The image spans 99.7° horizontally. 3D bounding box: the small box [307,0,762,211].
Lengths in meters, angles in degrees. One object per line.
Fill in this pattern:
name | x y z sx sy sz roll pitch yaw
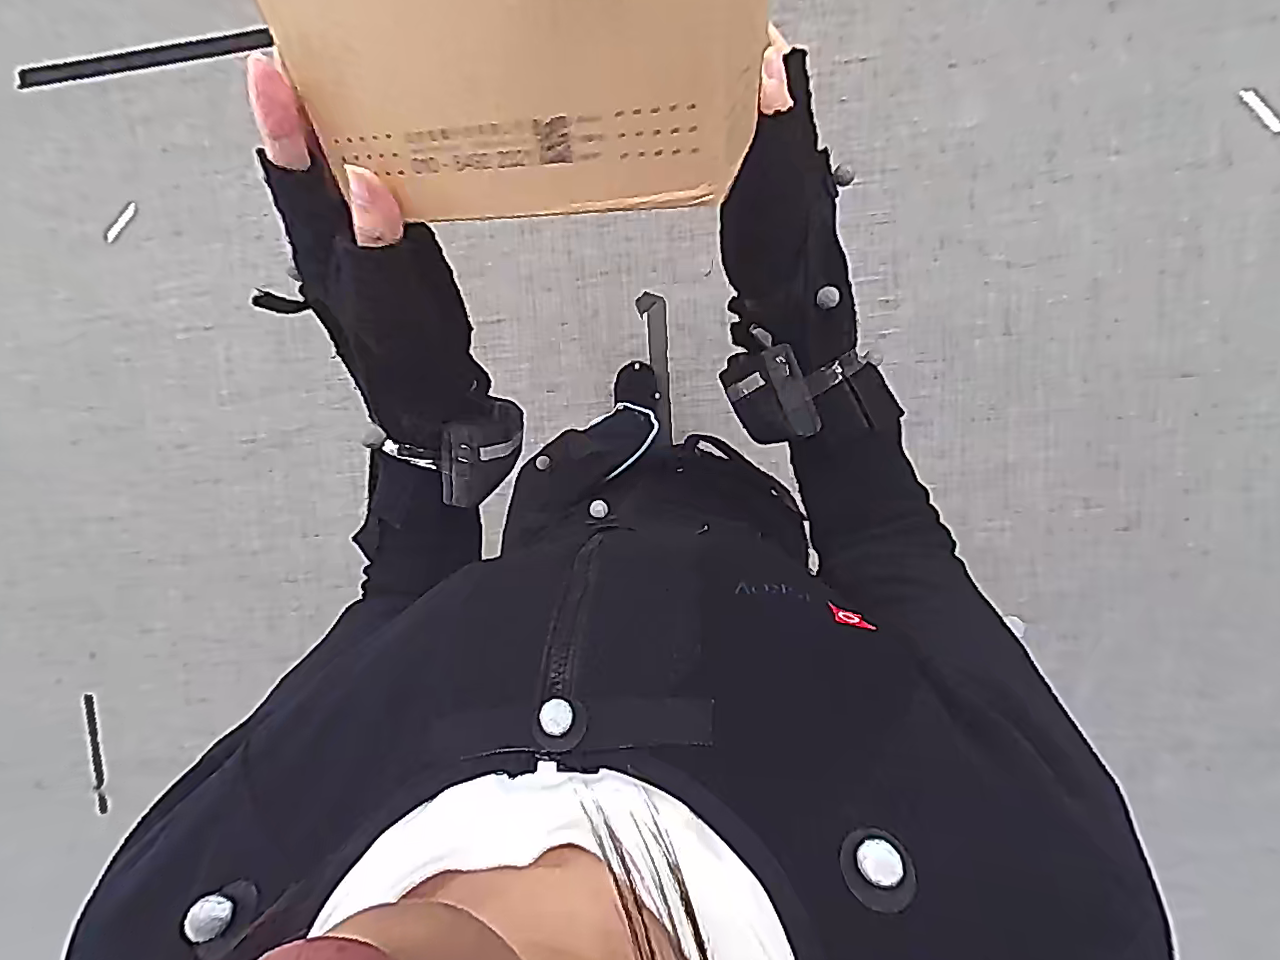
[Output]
small box | -0.034 -0.233 0.247 0.168 0.179 0.176 4 132 14
